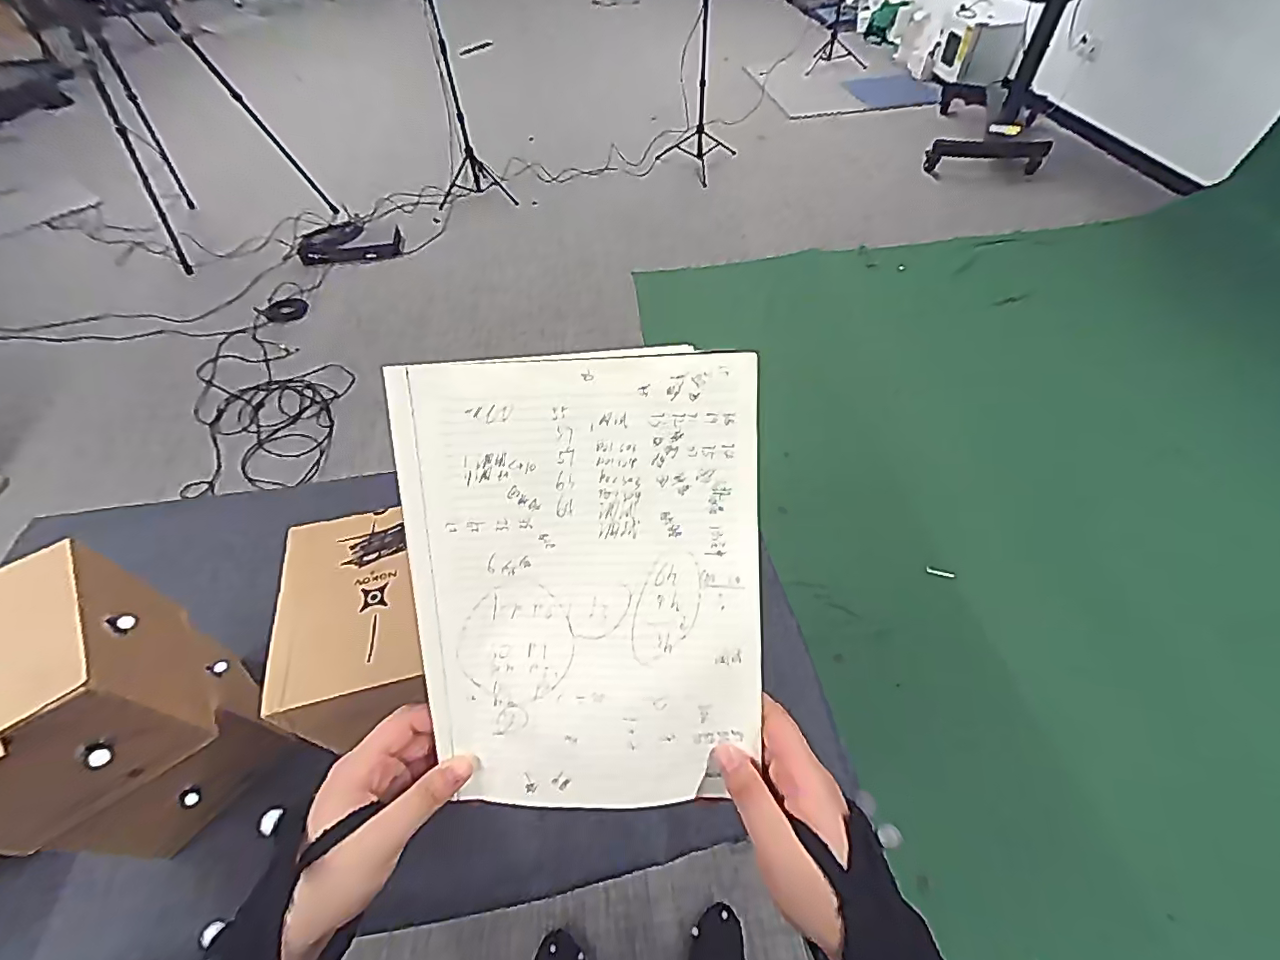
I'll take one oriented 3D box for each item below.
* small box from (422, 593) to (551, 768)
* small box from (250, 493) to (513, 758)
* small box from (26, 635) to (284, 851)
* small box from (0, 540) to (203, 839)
[{"bbox_3d":[-0.226,0.231,0.662,0.179,0.176,0.168,14,54,14],"label":"small box"},{"bbox_3d":[-0.227,0.142,0.523,0.168,0.176,0.179,-12,53,-7],"label":"small box"},{"bbox_3d":[-0.562,0.291,0.625,0.179,0.176,0.168,33,59,24],"label":"small box"},{"bbox_3d":[-0.548,0.195,0.493,0.168,0.176,0.179,-32,57,-22],"label":"small box"}]
